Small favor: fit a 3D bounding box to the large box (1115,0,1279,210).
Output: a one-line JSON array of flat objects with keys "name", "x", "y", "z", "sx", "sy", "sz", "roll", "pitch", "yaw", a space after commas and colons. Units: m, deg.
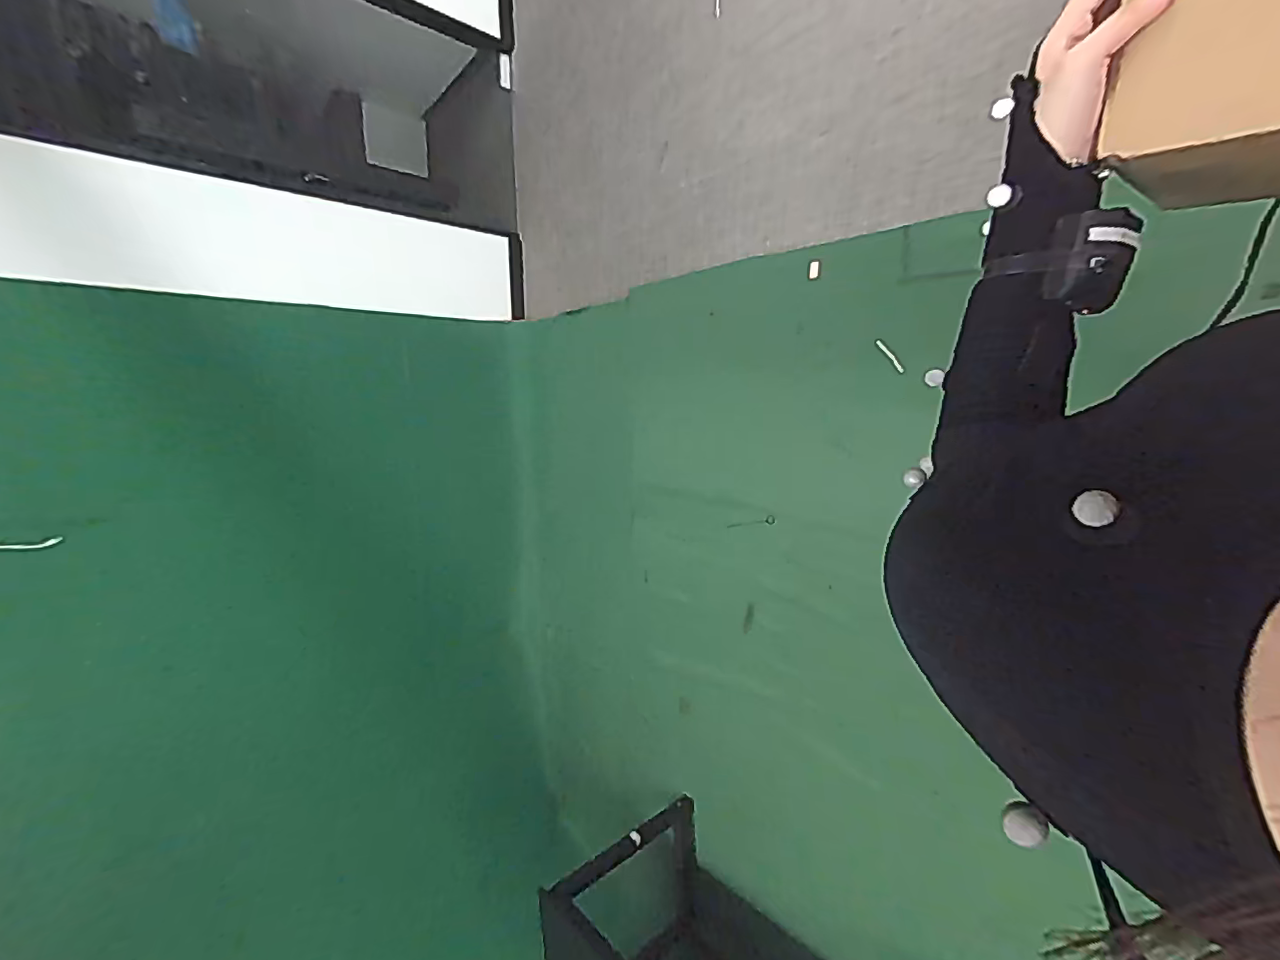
[{"name": "large box", "x": 0.567, "y": -0.371, "z": 0.296, "sx": 0.408, "sy": 0.320, "sz": 0.320, "roll": 14, "pitch": 113, "yaw": 46}]
